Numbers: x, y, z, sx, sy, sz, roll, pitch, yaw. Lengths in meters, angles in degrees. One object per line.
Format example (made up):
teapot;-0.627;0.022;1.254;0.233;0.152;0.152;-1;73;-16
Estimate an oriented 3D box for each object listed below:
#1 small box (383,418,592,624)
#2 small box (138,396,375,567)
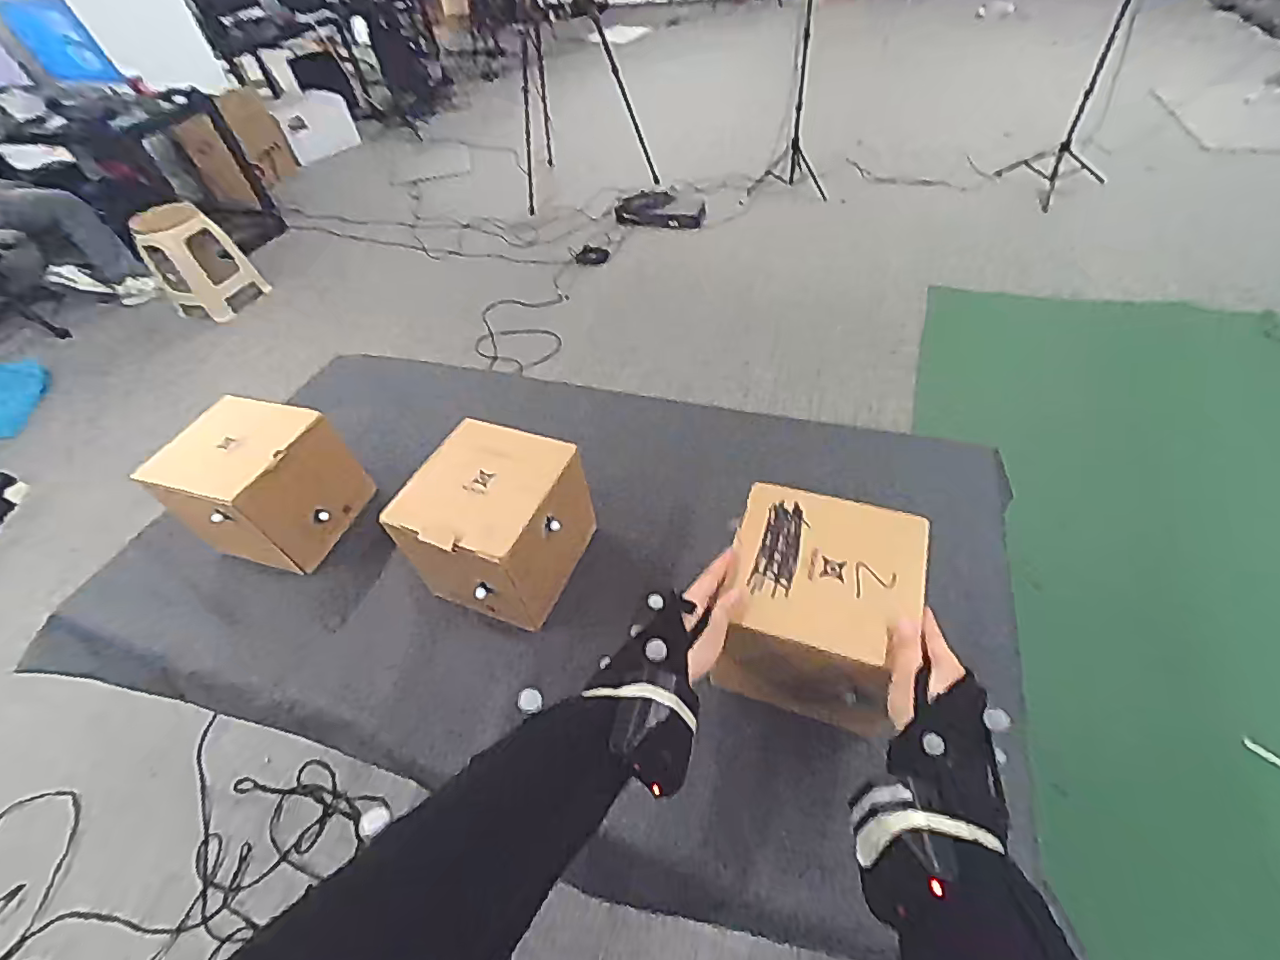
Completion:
small box;-0.173;0.054;0.682;0.168;0.176;0.179;15;52;18
small box;-0.526;0.004;0.770;0.179;0.176;0.168;10;51;15
